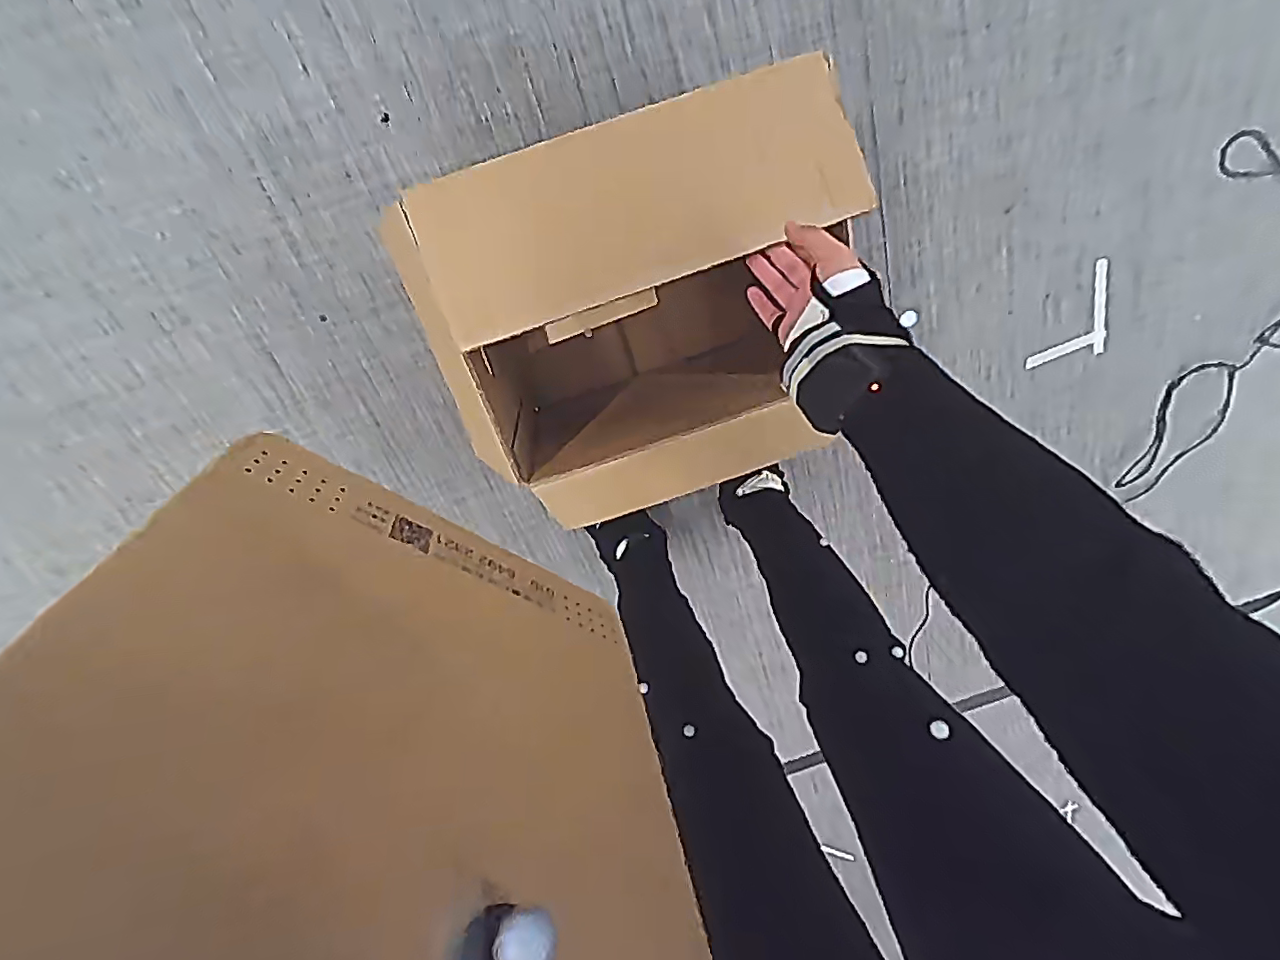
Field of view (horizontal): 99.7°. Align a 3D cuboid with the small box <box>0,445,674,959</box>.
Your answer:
[{"bbox_3d":[-0.108,0.122,0.176,0.168,0.176,0.179,33,106,-27],"label":"small box"}]
